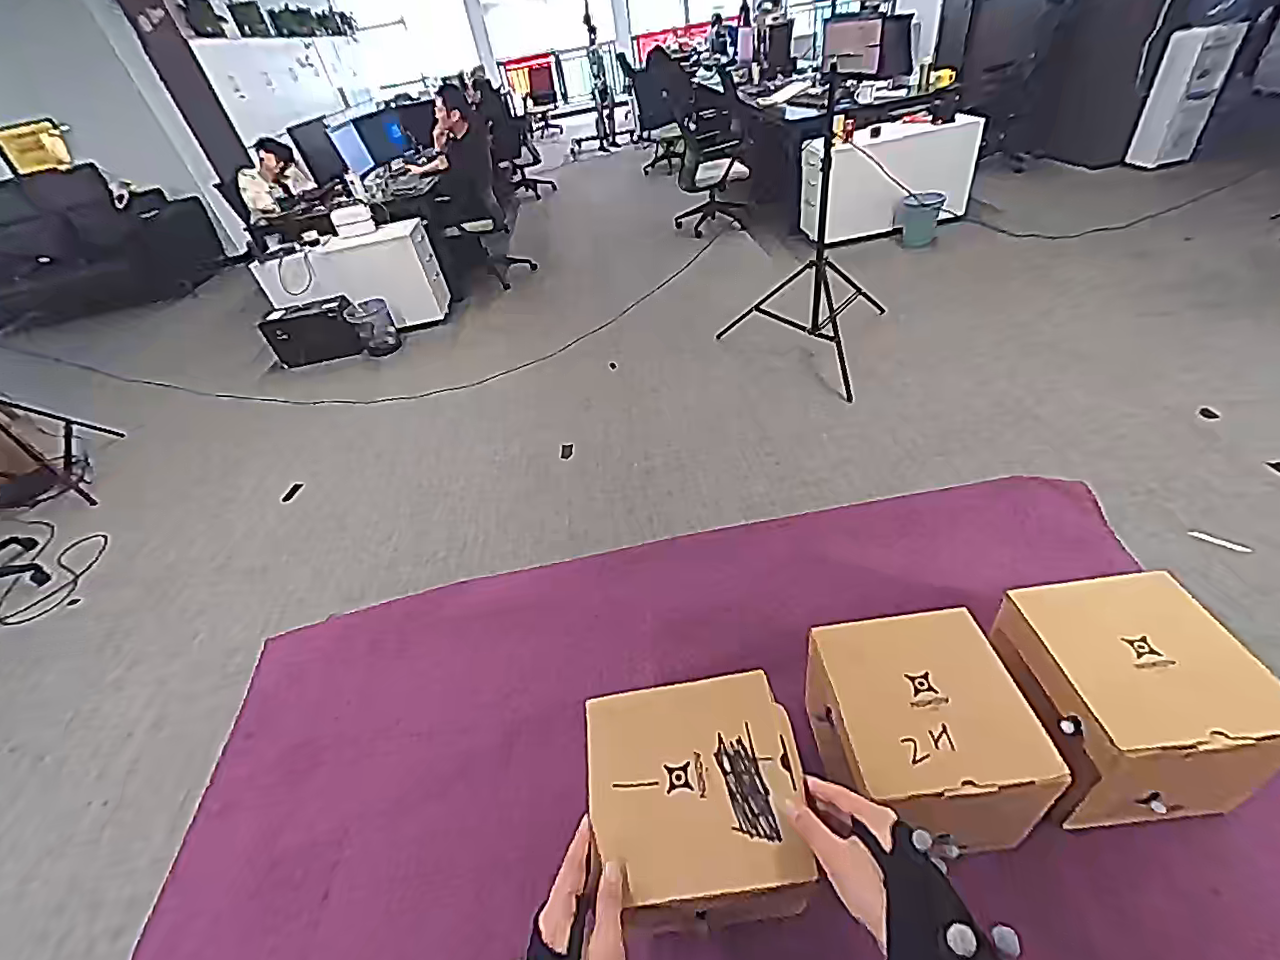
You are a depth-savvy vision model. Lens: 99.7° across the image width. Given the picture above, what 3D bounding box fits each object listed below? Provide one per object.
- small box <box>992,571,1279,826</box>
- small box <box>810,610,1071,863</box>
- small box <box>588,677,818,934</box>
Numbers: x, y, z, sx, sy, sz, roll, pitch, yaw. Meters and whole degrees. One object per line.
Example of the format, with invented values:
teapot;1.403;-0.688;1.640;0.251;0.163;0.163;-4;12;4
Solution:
small box;0.488;0.222;0.555;0.168;0.176;0.179;-9;39;4
small box;0.281;0.263;0.560;0.168;0.176;0.179;-9;39;4
small box;0.052;0.312;0.517;0.179;0.176;0.168;-10;44;2
